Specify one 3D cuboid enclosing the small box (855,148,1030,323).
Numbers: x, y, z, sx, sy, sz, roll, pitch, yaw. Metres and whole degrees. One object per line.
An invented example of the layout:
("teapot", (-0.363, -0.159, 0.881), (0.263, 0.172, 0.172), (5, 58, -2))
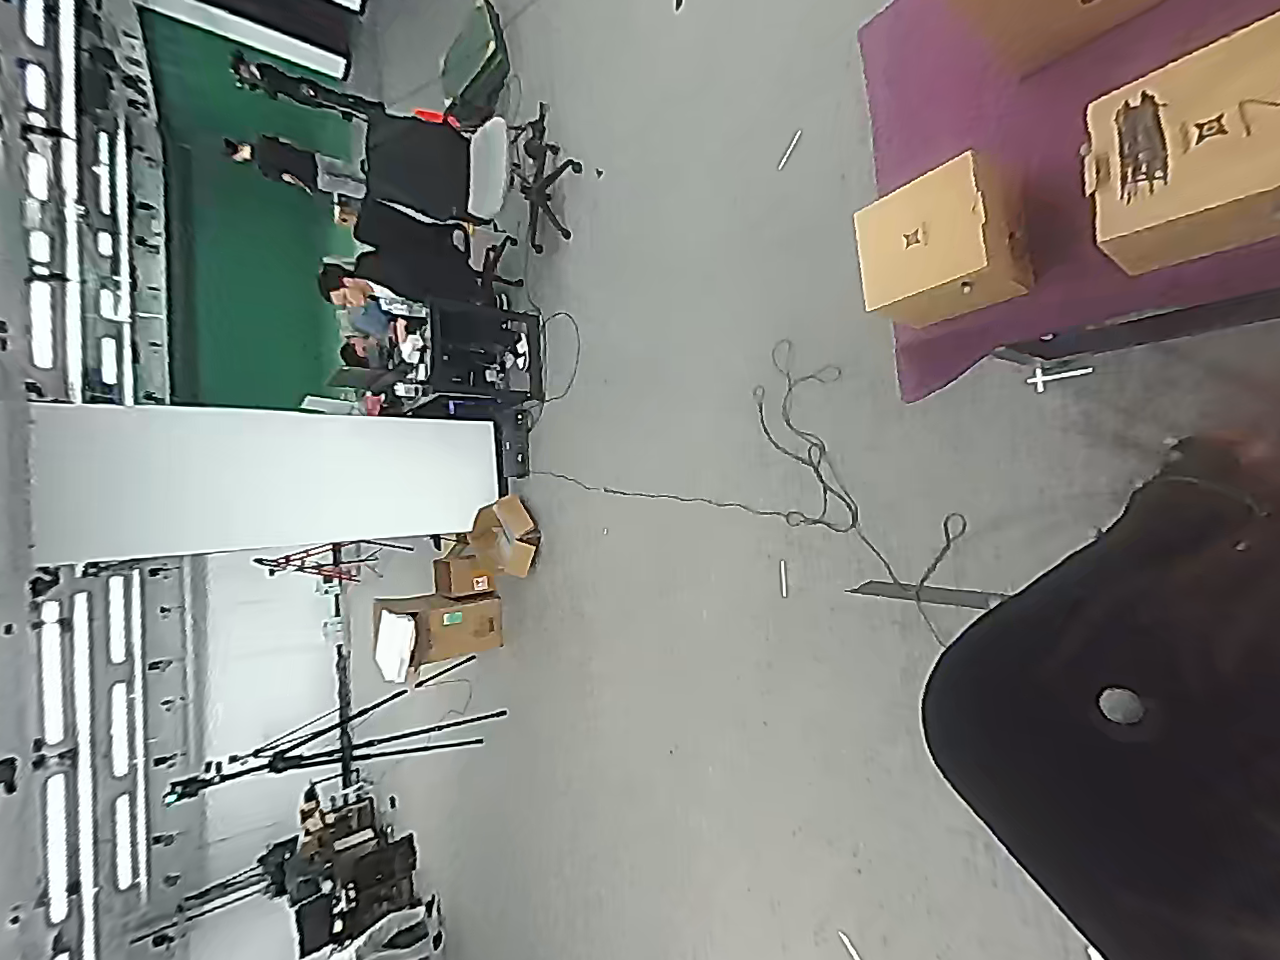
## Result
("small box", (0.460, -0.355, 0.828), (0.179, 0.176, 0.168), (-11, 83, 51))
